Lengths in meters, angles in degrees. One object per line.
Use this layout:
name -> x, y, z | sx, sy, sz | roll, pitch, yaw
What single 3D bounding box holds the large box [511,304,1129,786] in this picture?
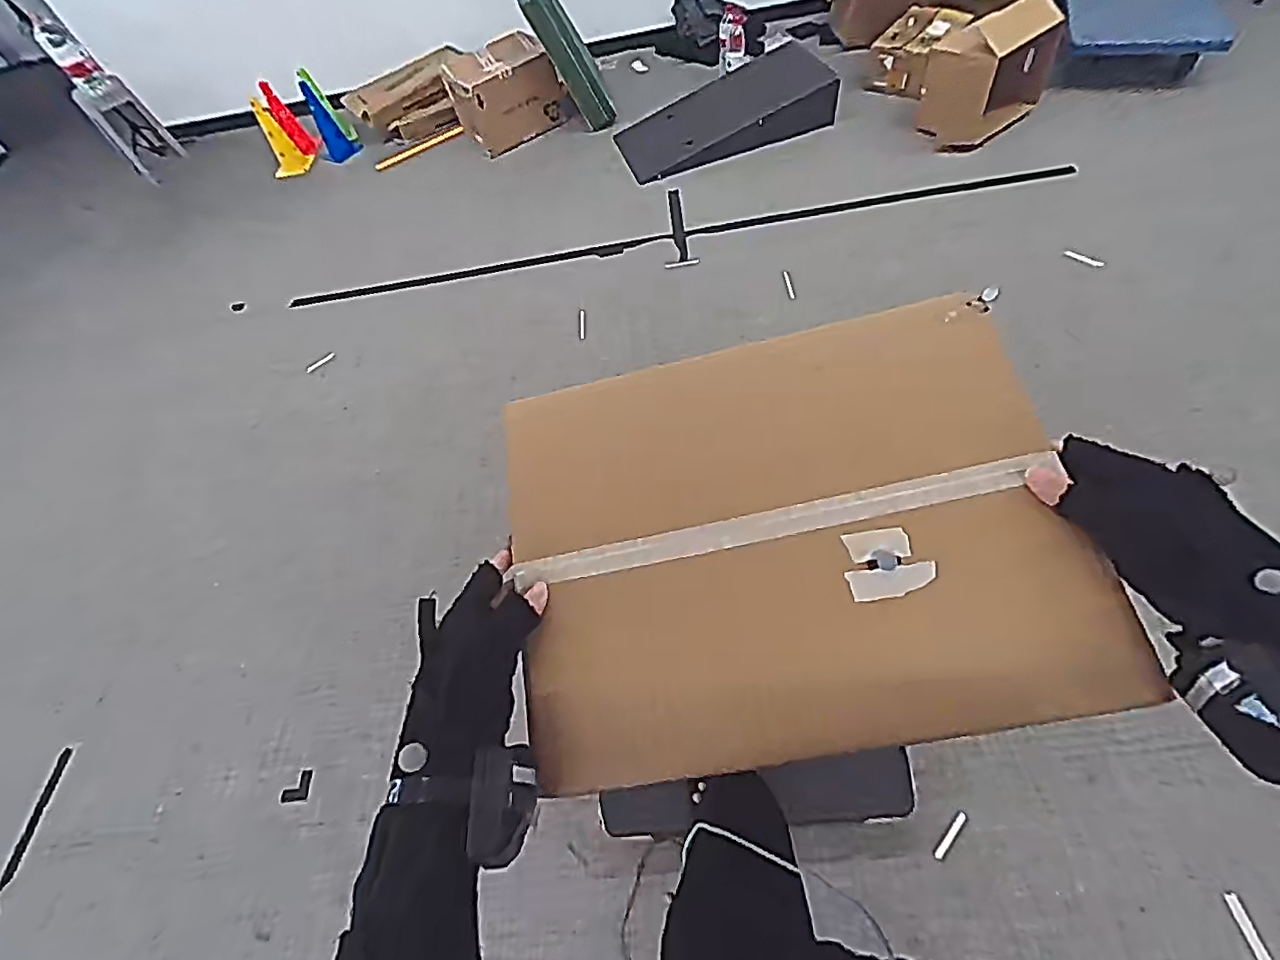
large box -> 0.124, 0.085, 0.558 | 0.408, 0.320, 0.320 | -13, 69, 6
